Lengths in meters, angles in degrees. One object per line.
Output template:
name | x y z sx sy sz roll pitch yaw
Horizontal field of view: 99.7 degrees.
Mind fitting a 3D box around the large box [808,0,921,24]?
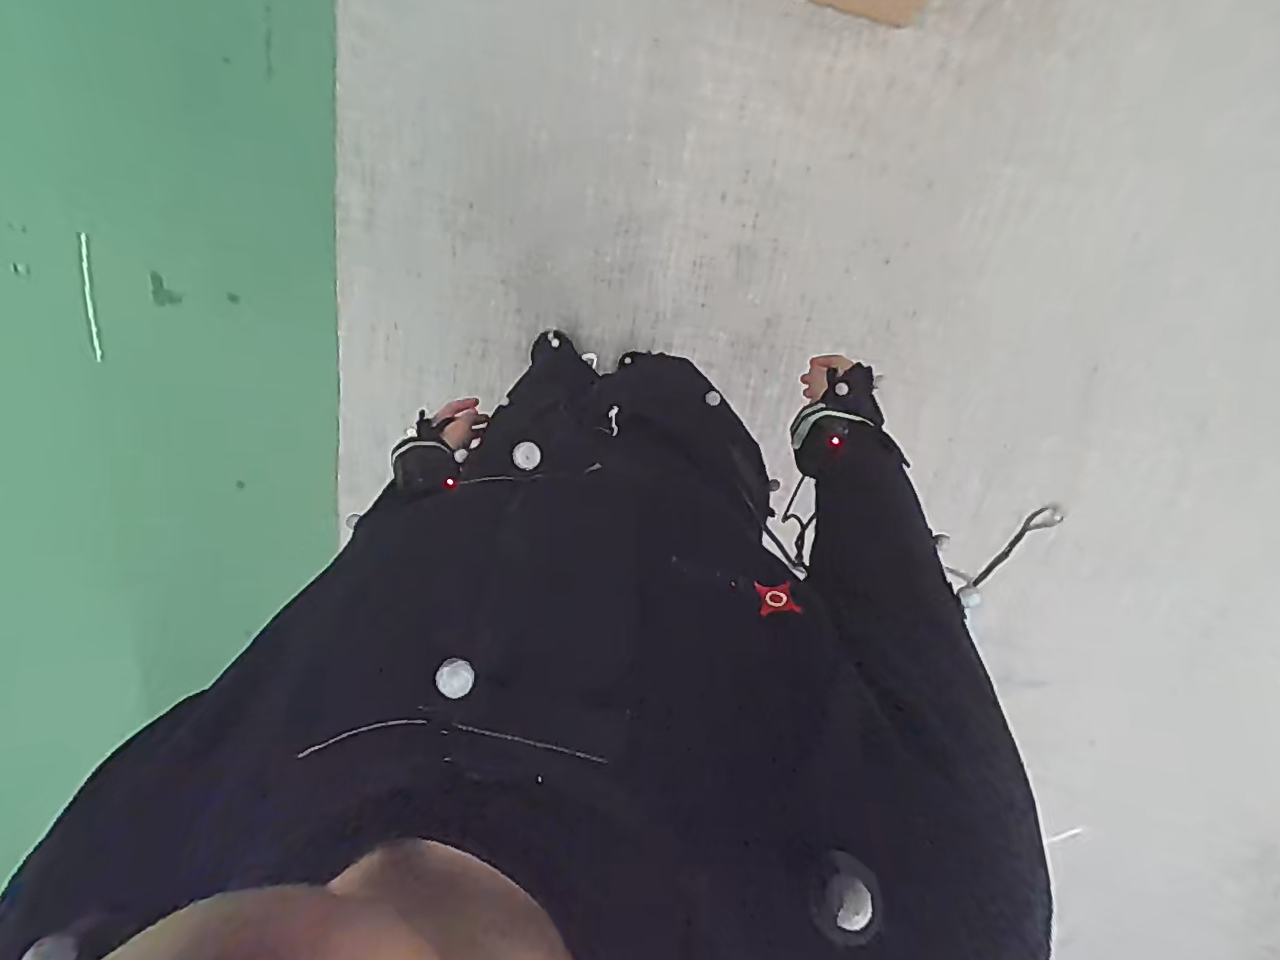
large box | 0.347 -1.028 0.865 0.408 0.320 0.320 15 109 -1
